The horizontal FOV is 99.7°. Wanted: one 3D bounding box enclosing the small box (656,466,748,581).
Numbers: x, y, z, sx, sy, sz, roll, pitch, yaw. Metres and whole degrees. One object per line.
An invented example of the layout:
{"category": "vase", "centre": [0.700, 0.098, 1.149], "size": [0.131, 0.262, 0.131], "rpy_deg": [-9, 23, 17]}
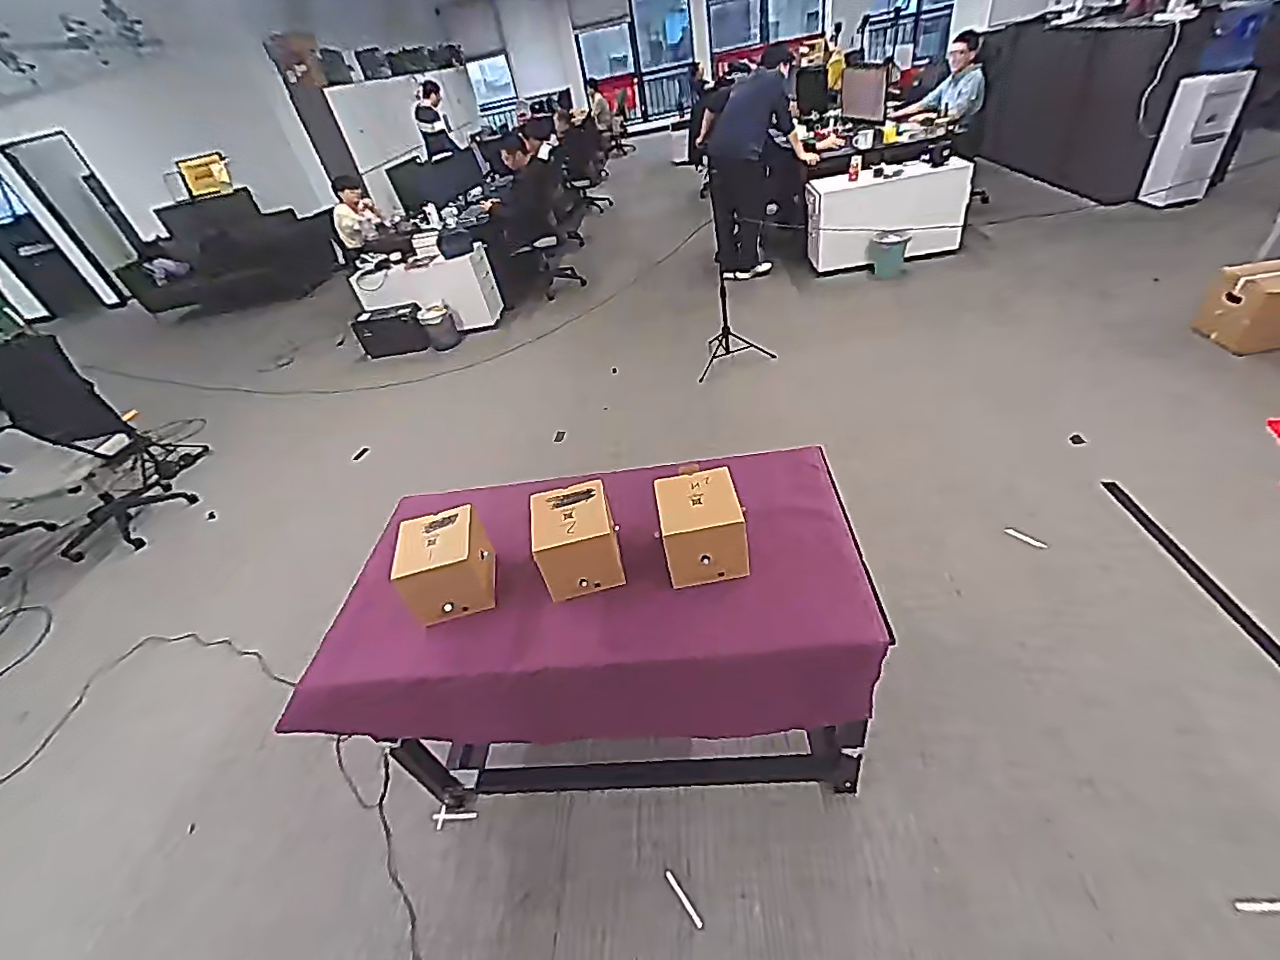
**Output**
{"category": "small box", "centre": [0.133, 0.099, 1.163], "size": [0.168, 0.176, 0.179], "rpy_deg": [-10, 38, 3]}

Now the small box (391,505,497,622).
{"category": "small box", "centre": [-0.431, 0.188, 1.217], "size": [0.168, 0.176, 0.179], "rpy_deg": [-15, 39, -2]}
